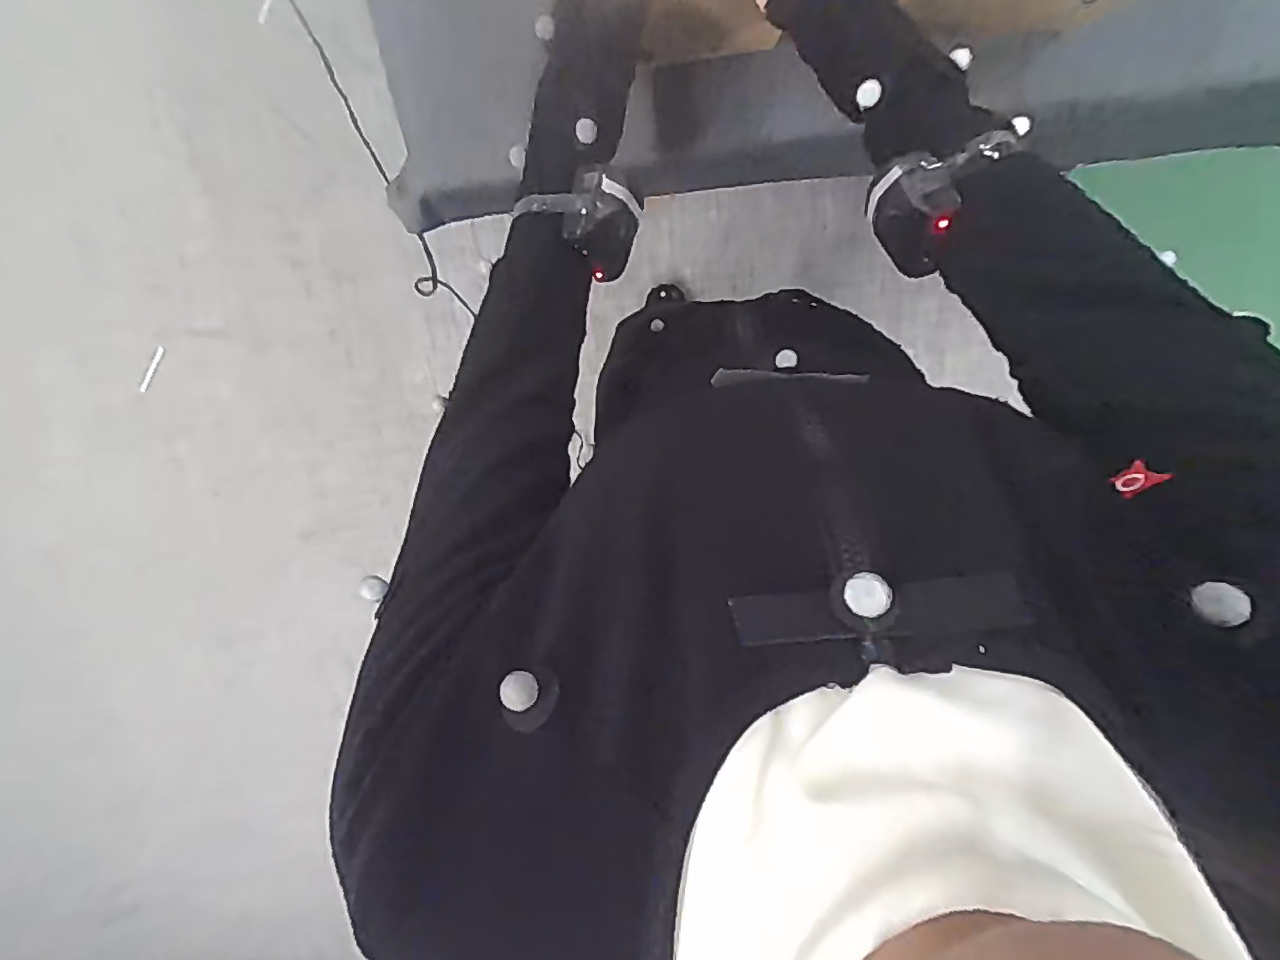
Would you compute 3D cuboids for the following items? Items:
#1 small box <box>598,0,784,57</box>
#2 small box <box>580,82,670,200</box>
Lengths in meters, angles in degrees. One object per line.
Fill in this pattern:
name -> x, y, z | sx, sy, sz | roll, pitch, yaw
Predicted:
small box -> 0.040, -0.479, 0.438 | 0.168, 0.176, 0.179 | -6, 107, 2
small box -> -0.025, -0.699, 1.136 | 0.168, 0.176, 0.179 | -6, 110, 3
